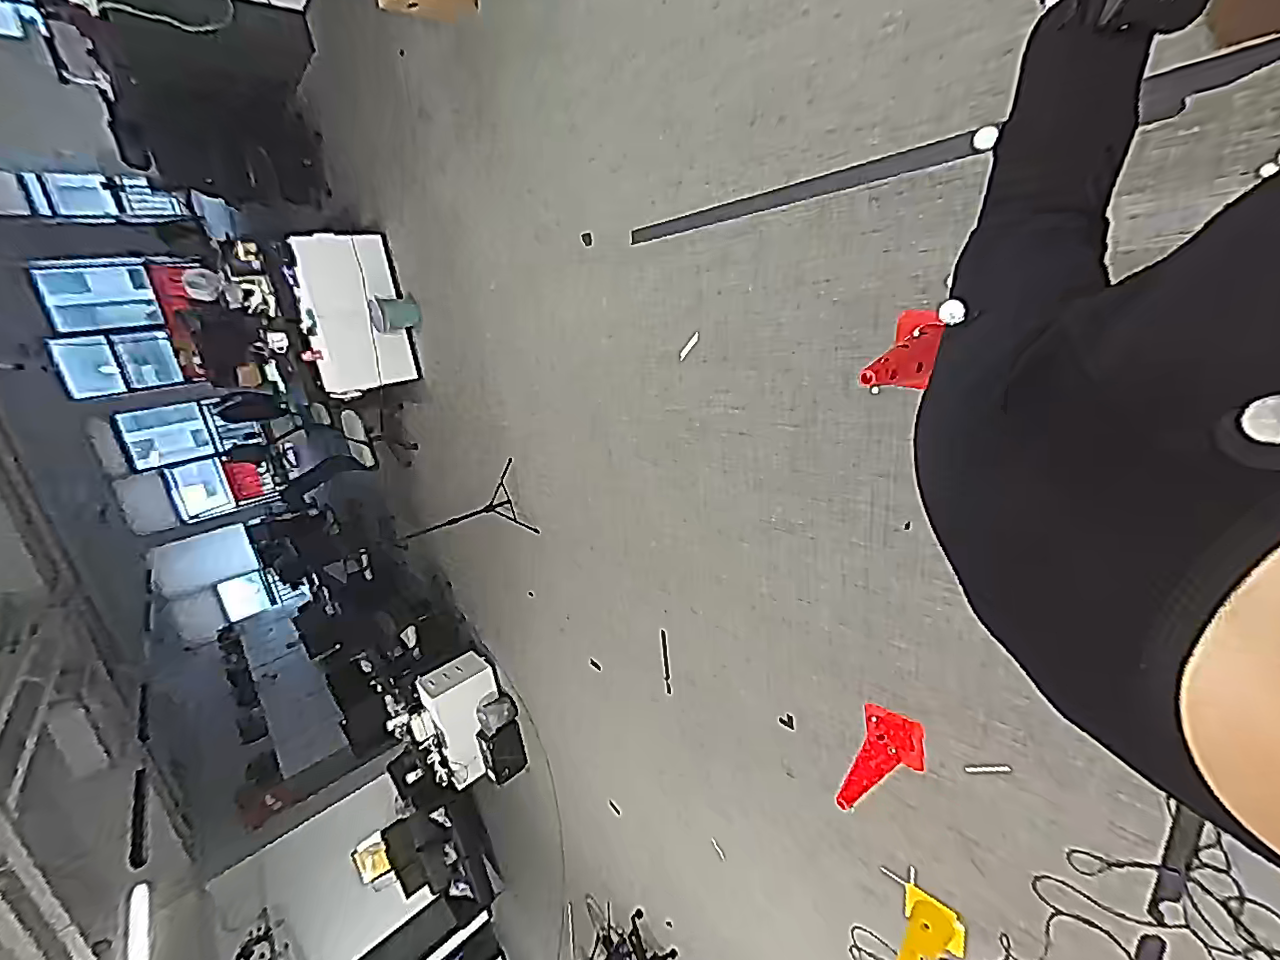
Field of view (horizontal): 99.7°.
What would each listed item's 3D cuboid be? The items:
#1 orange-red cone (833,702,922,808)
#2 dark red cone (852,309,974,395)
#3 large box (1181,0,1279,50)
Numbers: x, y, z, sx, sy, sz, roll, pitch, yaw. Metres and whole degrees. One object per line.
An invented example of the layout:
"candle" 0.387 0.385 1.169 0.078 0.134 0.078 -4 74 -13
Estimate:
"orange-red cone" 0.734 0.928 1.744 0.198 0.360 0.199 11 117 49
"dark red cone" 0.607 -0.276 1.267 0.201 0.394 0.202 20 122 43
"large box" 0.552 -0.477 0.243 0.408 0.320 0.320 15 120 45
